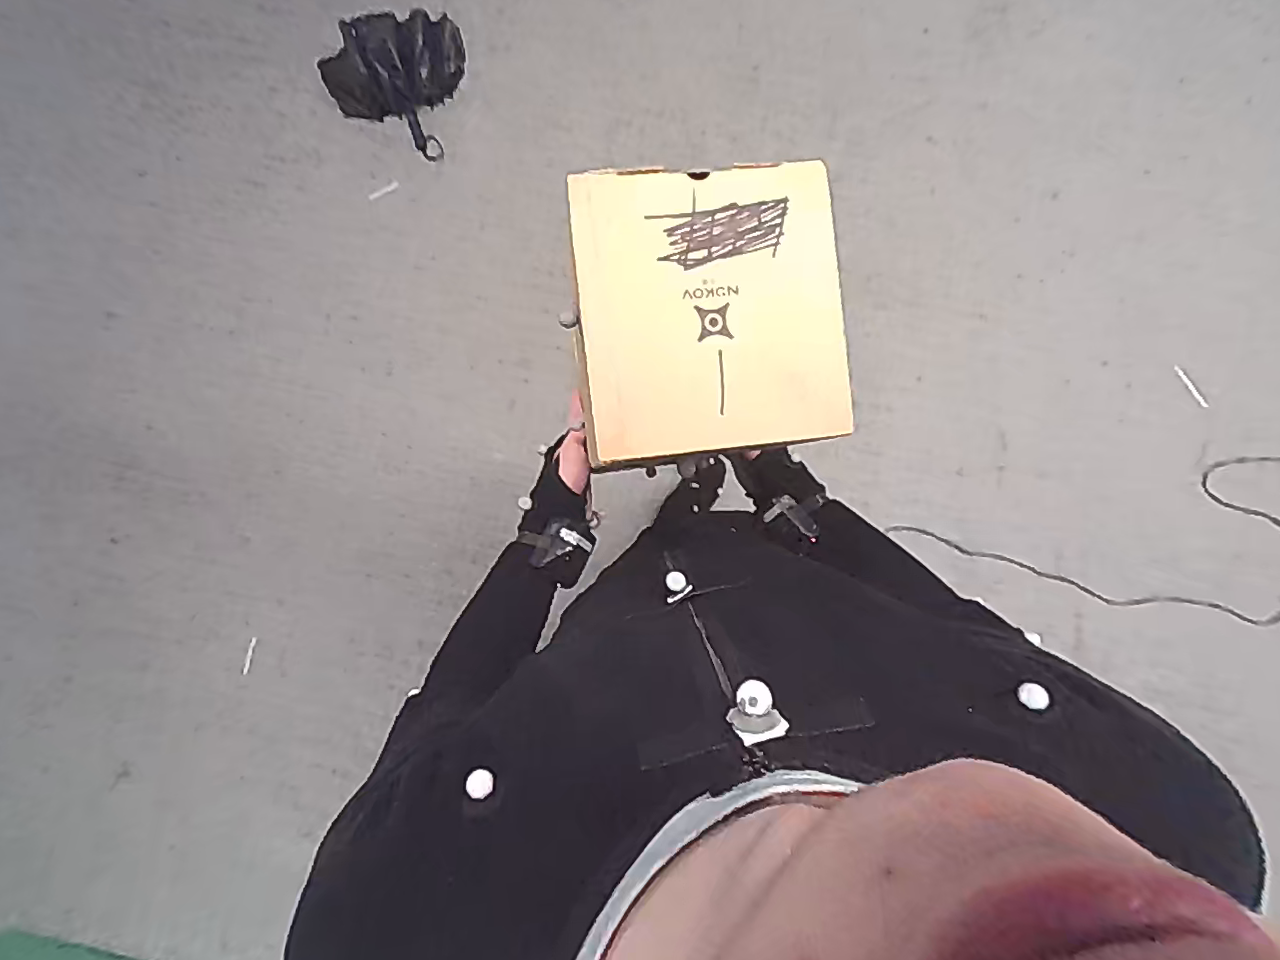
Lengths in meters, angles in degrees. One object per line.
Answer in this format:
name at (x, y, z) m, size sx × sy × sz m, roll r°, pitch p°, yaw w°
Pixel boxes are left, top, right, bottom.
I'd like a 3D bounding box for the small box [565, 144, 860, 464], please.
small box at (0.034, -0.107, 0.393) m, size 0.168 × 0.176 × 0.179 m, roll -6°, pitch 91°, yaw -6°
